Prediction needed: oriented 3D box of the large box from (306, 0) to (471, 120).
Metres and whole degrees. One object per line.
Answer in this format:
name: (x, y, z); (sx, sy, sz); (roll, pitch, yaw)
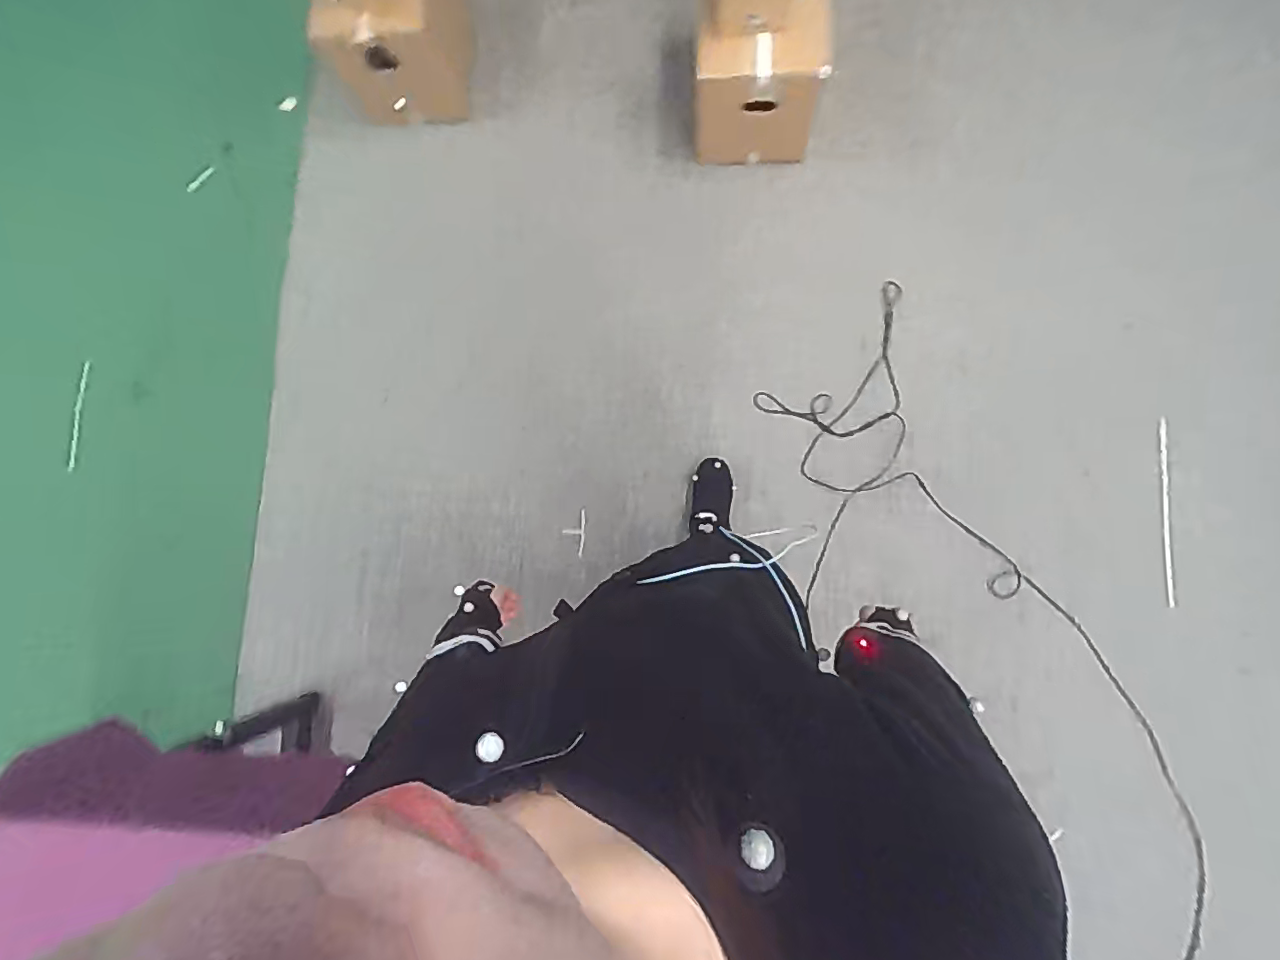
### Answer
large box: (-0.699, -1.339, 1.554); (0.320, 0.320, 0.408); (1, 84, 5)
